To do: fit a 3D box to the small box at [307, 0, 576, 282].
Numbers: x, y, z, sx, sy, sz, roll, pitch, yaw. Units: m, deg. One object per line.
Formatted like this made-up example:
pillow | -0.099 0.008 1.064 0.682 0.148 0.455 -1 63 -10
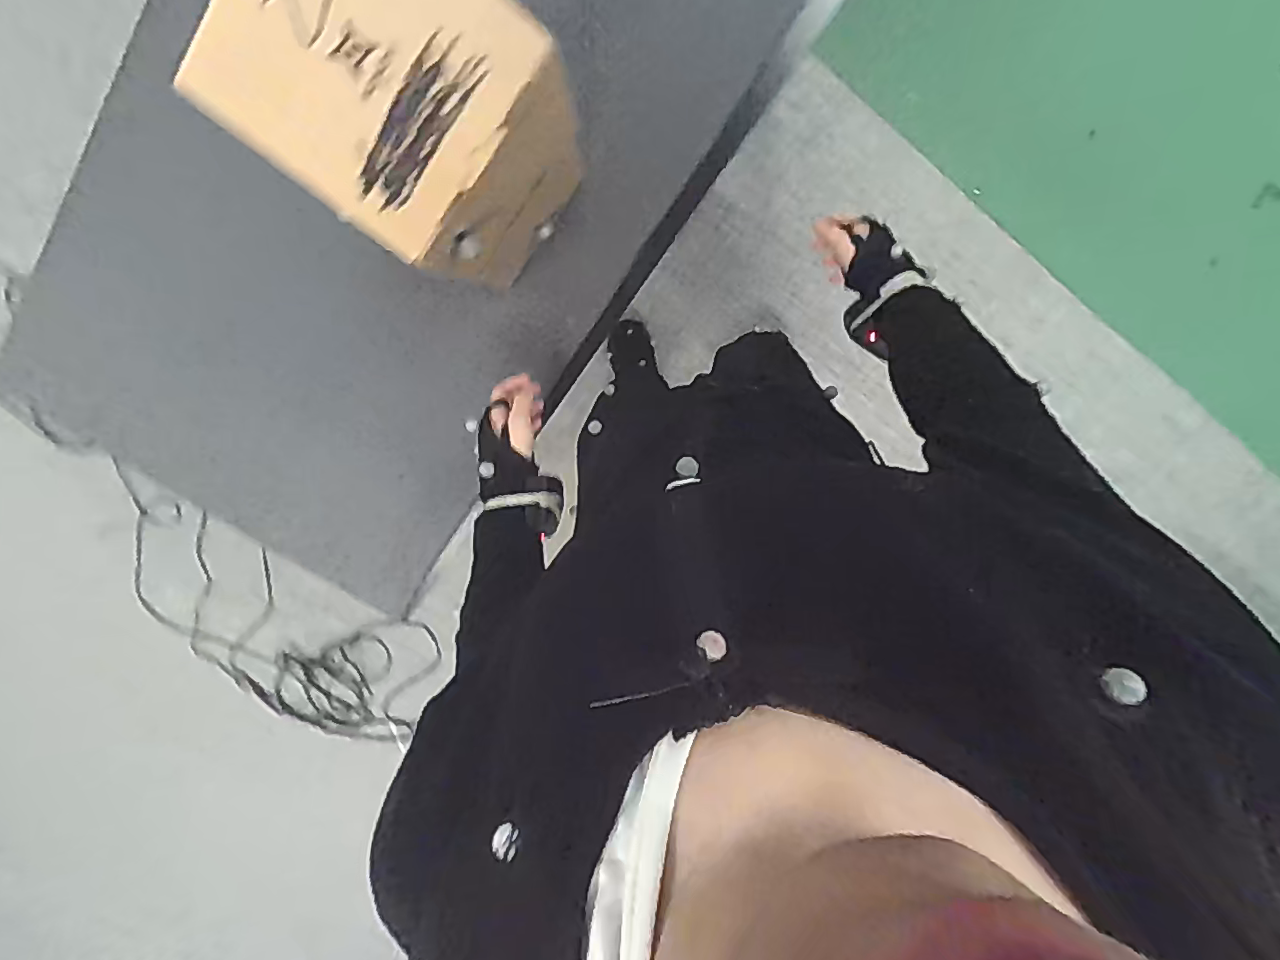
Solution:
small box | -0.185 -0.326 0.560 0.179 0.176 0.168 36 101 -10
